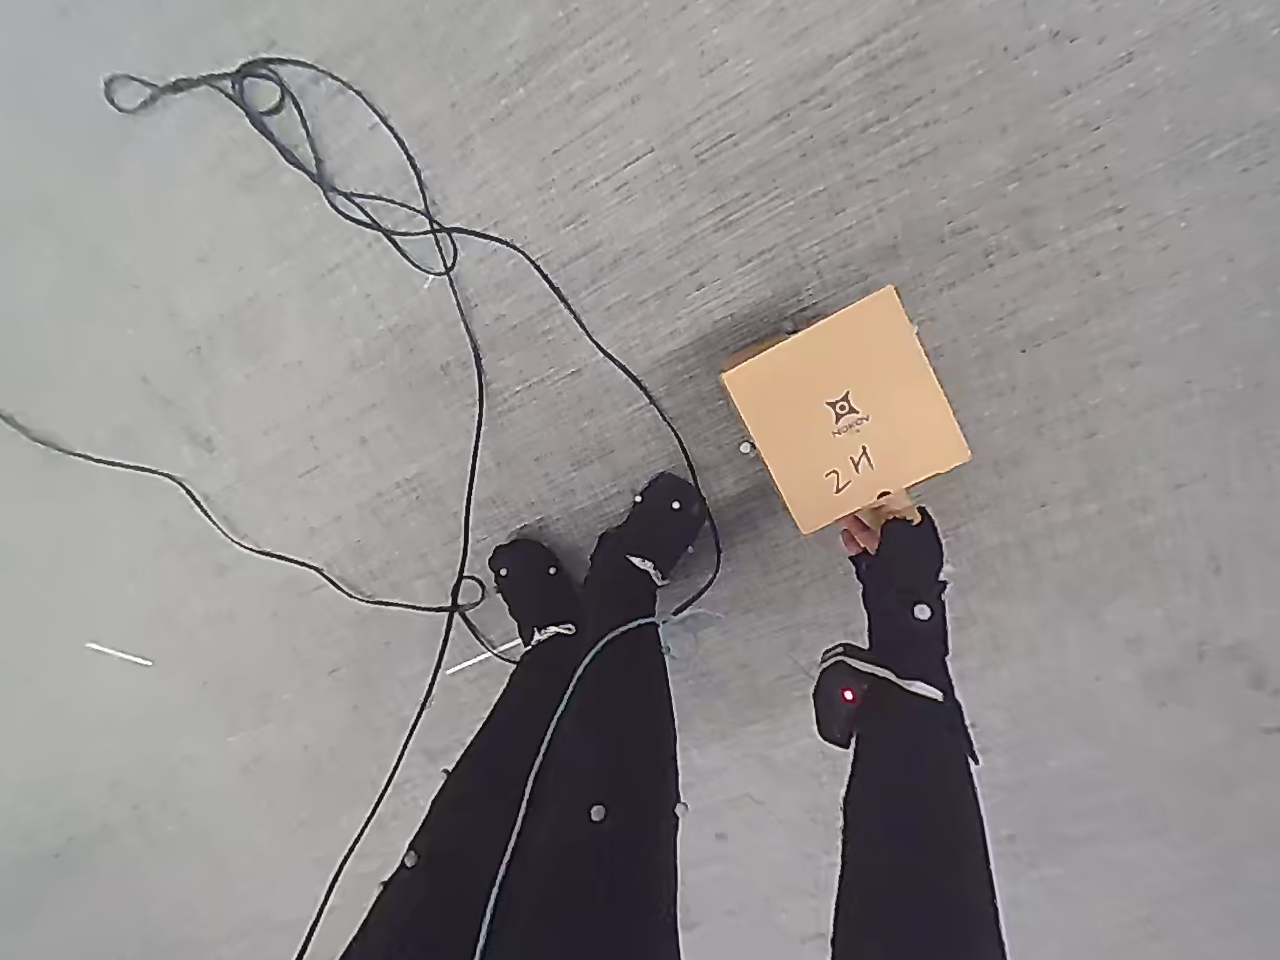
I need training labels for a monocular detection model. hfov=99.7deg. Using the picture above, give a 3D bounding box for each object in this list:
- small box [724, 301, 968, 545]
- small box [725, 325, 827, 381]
[{"bbox_3d":[0.195,-0.060,0.569,0.168,0.176,0.179,-26,97,12],"label":"small box"},{"bbox_3d":[0.224,-0.098,0.740,0.168,0.176,0.179,-22,106,11],"label":"small box"}]
